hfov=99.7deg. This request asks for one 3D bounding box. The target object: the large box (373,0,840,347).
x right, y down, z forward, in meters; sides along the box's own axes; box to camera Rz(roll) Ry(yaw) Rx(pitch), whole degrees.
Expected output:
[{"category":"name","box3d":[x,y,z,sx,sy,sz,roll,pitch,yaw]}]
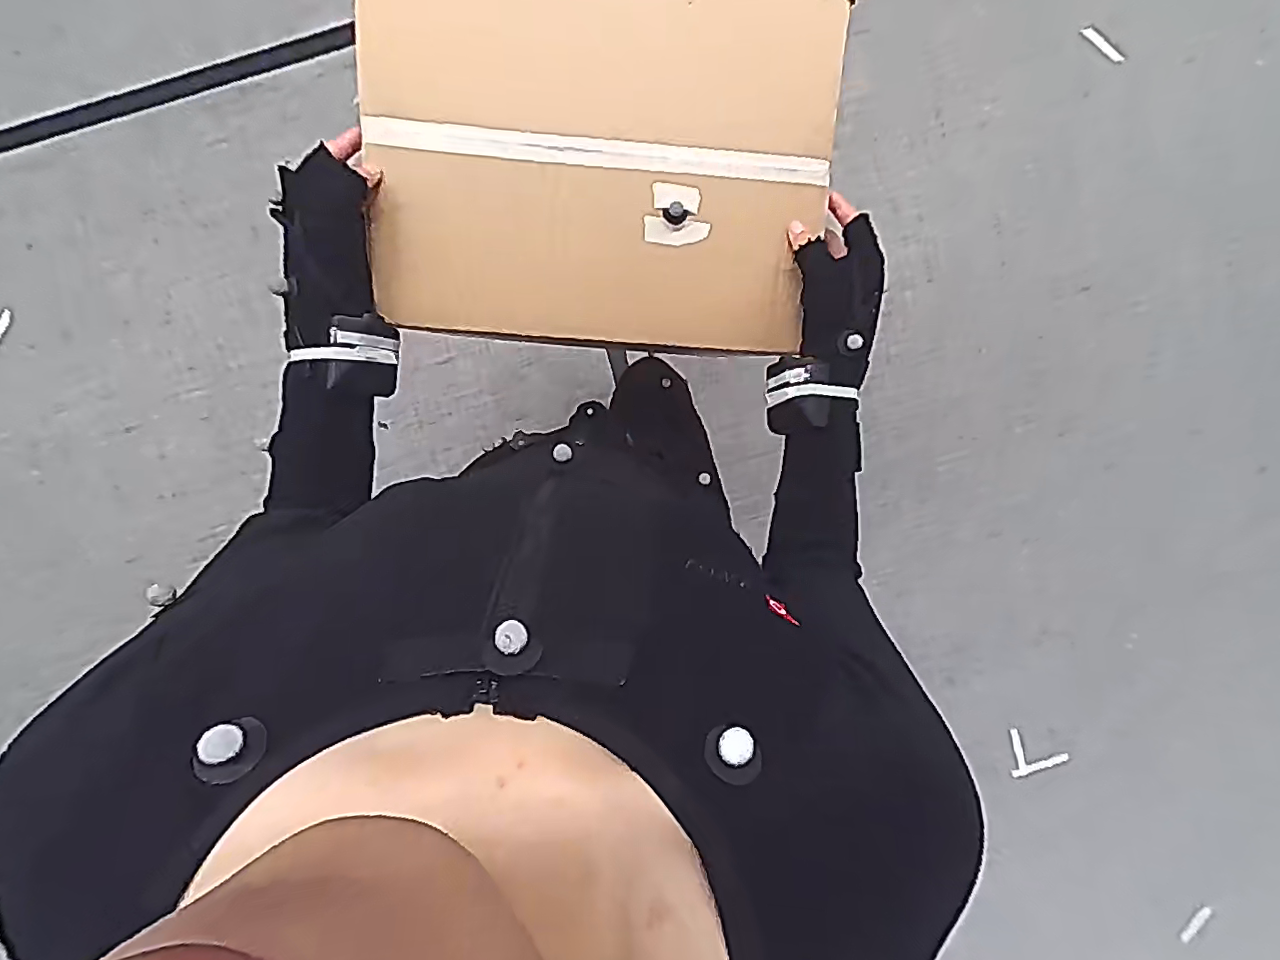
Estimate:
[{"category":"large box","box3d":[-0.042,-0.327,0.627,0.408,0.320,0.320,3,102,-5]}]
